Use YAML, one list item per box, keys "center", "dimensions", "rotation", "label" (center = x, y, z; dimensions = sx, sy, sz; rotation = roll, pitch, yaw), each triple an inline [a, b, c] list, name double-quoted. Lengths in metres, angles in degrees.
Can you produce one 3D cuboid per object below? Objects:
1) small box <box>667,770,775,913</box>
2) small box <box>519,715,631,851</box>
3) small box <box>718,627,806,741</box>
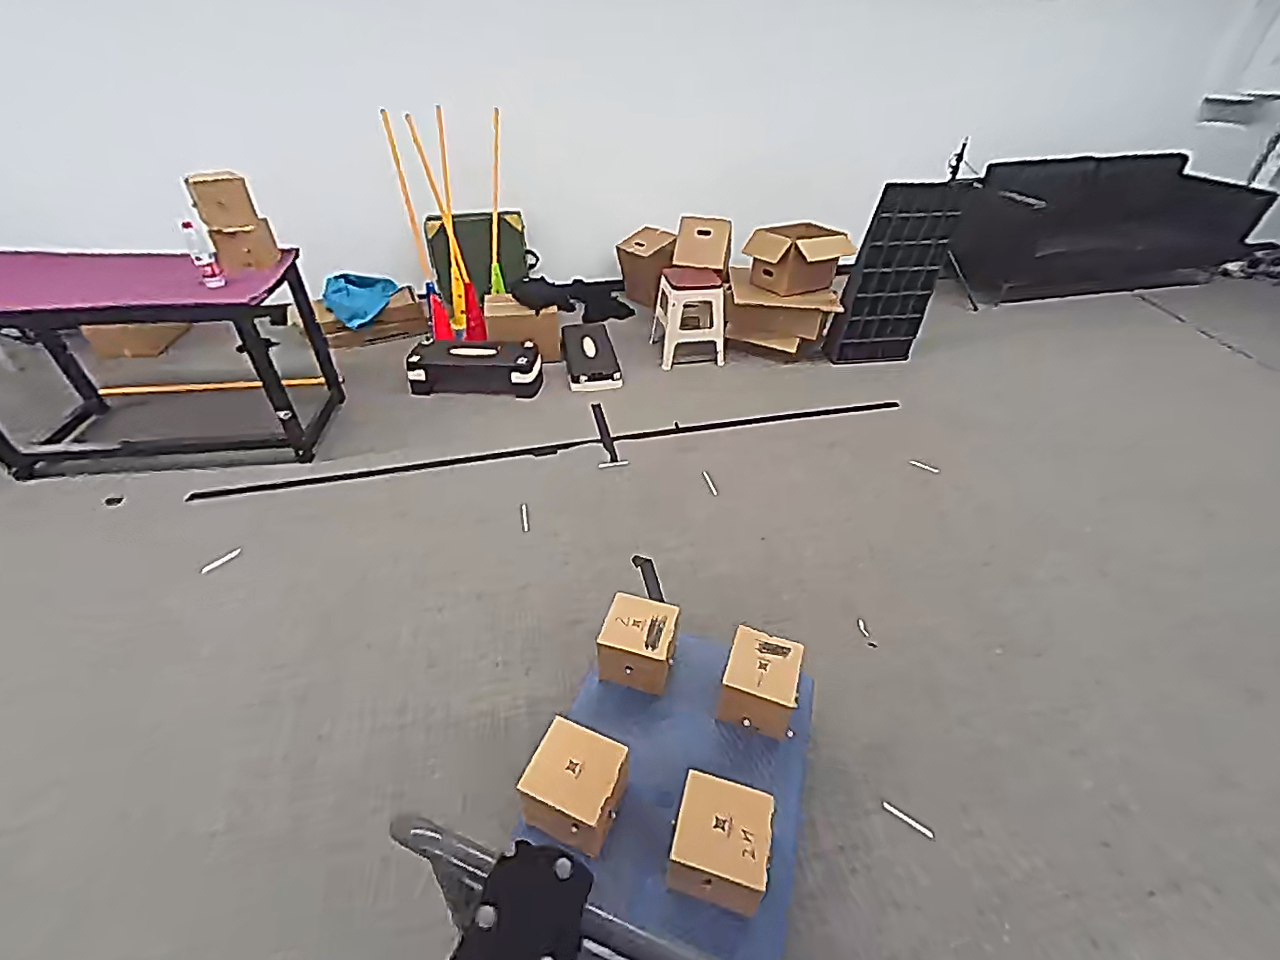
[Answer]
- center: [0.157, 0.718, 1.072]
  dimensions: [0.179, 0.176, 0.168]
  rotation: [13, 41, 13]
  label: "small box"
- center: [-0.134, 0.644, 1.147]
  dimensions: [0.179, 0.176, 0.168]
  rotation: [18, 40, 16]
  label: "small box"
- center: [0.299, 0.504, 1.340]
  dimensions: [0.168, 0.176, 0.179]
  rotation: [15, 42, 16]
  label: "small box"
